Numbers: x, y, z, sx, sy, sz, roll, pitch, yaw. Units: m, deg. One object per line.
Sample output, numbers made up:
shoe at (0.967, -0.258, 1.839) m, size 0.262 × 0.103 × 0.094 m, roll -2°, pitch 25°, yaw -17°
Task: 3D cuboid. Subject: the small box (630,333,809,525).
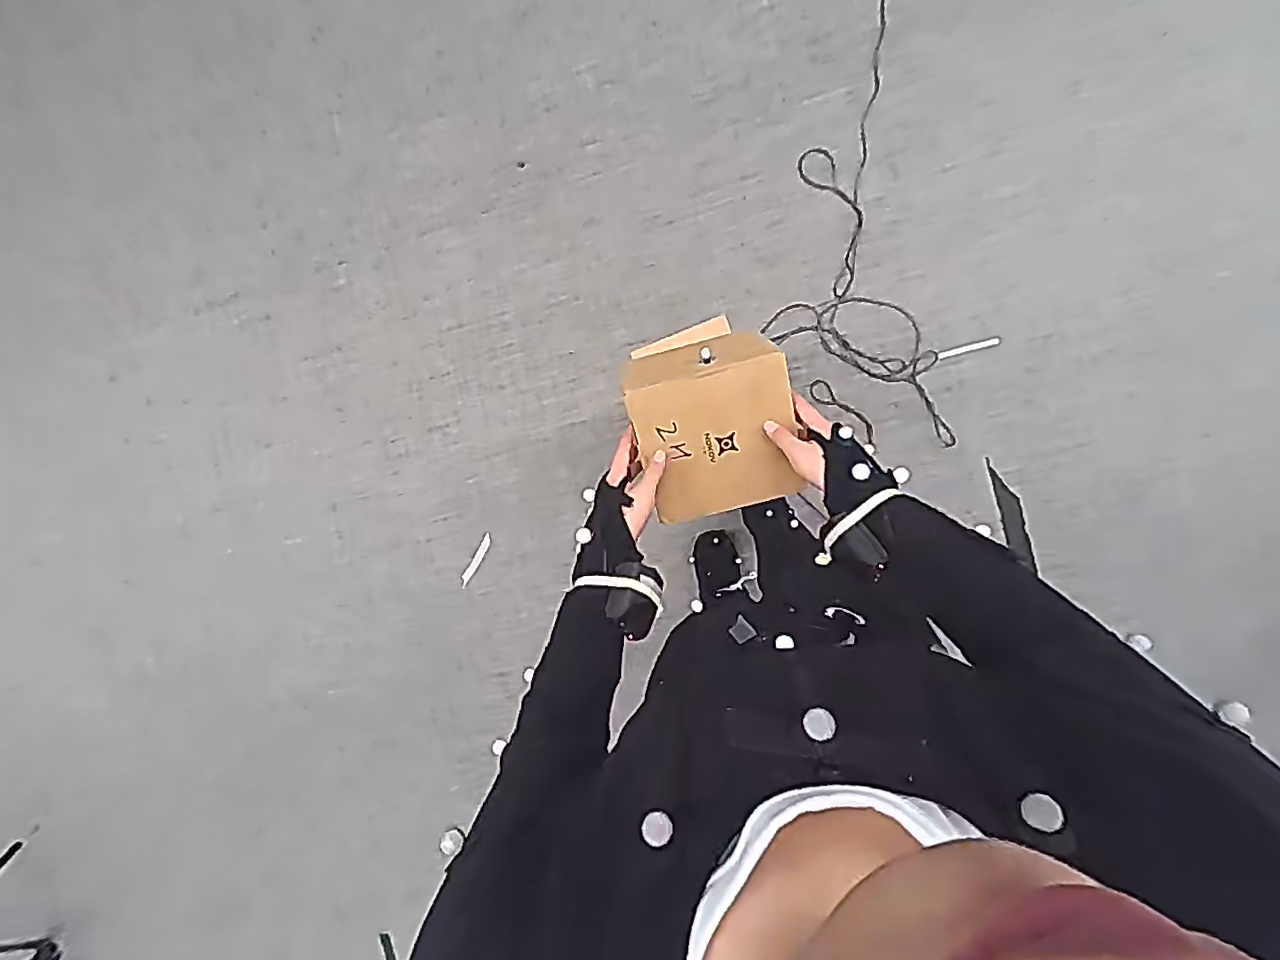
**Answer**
small box at (0.090, -0.071, 0.664) m, size 0.179 × 0.176 × 0.168 m, roll -14°, pitch 114°, yaw 6°
